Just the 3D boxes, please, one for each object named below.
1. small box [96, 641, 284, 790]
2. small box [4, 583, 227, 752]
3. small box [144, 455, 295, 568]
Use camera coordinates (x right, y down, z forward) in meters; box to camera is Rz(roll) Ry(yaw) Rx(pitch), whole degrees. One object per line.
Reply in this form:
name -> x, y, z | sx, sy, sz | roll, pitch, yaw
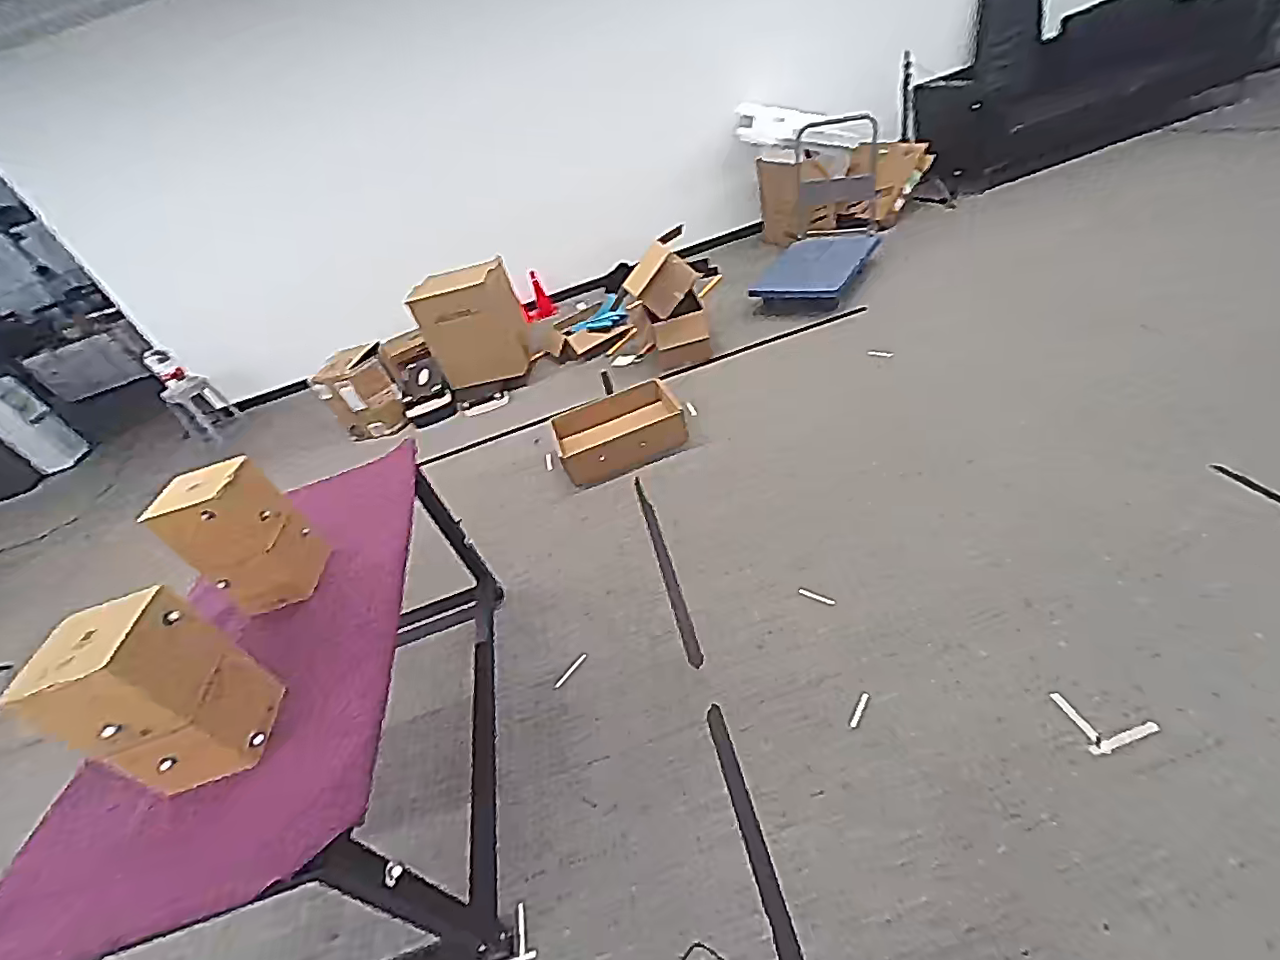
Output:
small box -> -0.806, 0.434, 0.997 | 0.179, 0.176, 0.168 | -19, 37, 0
small box -> -0.839, 0.309, 0.895 | 0.168, 0.176, 0.179 | -19, 37, -1
small box -> -0.941, 0.075, 1.230 | 0.179, 0.176, 0.168 | -17, 37, 1
